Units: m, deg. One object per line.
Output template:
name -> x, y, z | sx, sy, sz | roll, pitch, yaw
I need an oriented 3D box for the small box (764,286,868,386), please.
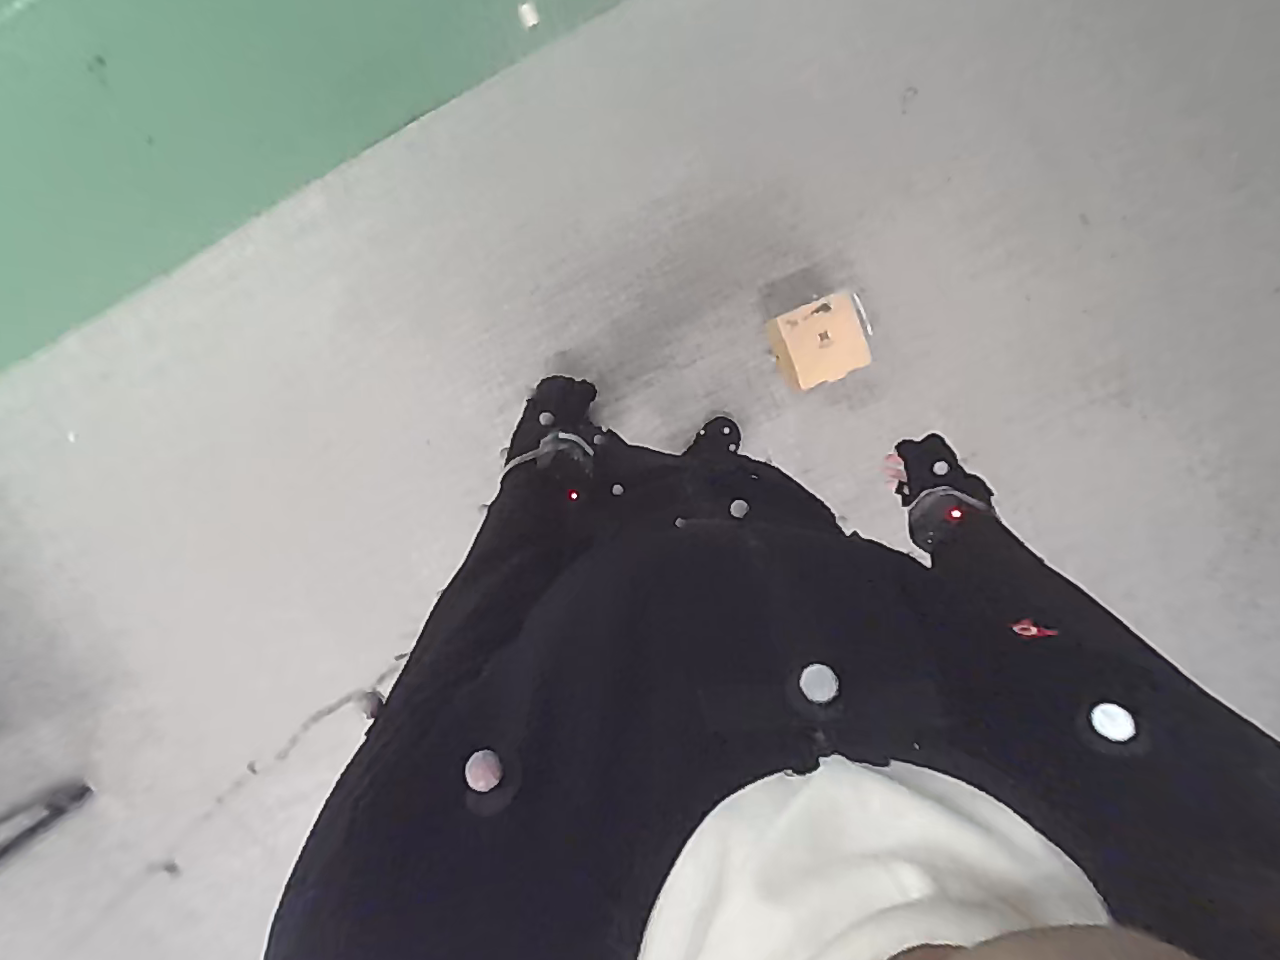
small box -> 0.408, -0.334, 1.274 | 0.168, 0.176, 0.179 | -21, 99, 6
